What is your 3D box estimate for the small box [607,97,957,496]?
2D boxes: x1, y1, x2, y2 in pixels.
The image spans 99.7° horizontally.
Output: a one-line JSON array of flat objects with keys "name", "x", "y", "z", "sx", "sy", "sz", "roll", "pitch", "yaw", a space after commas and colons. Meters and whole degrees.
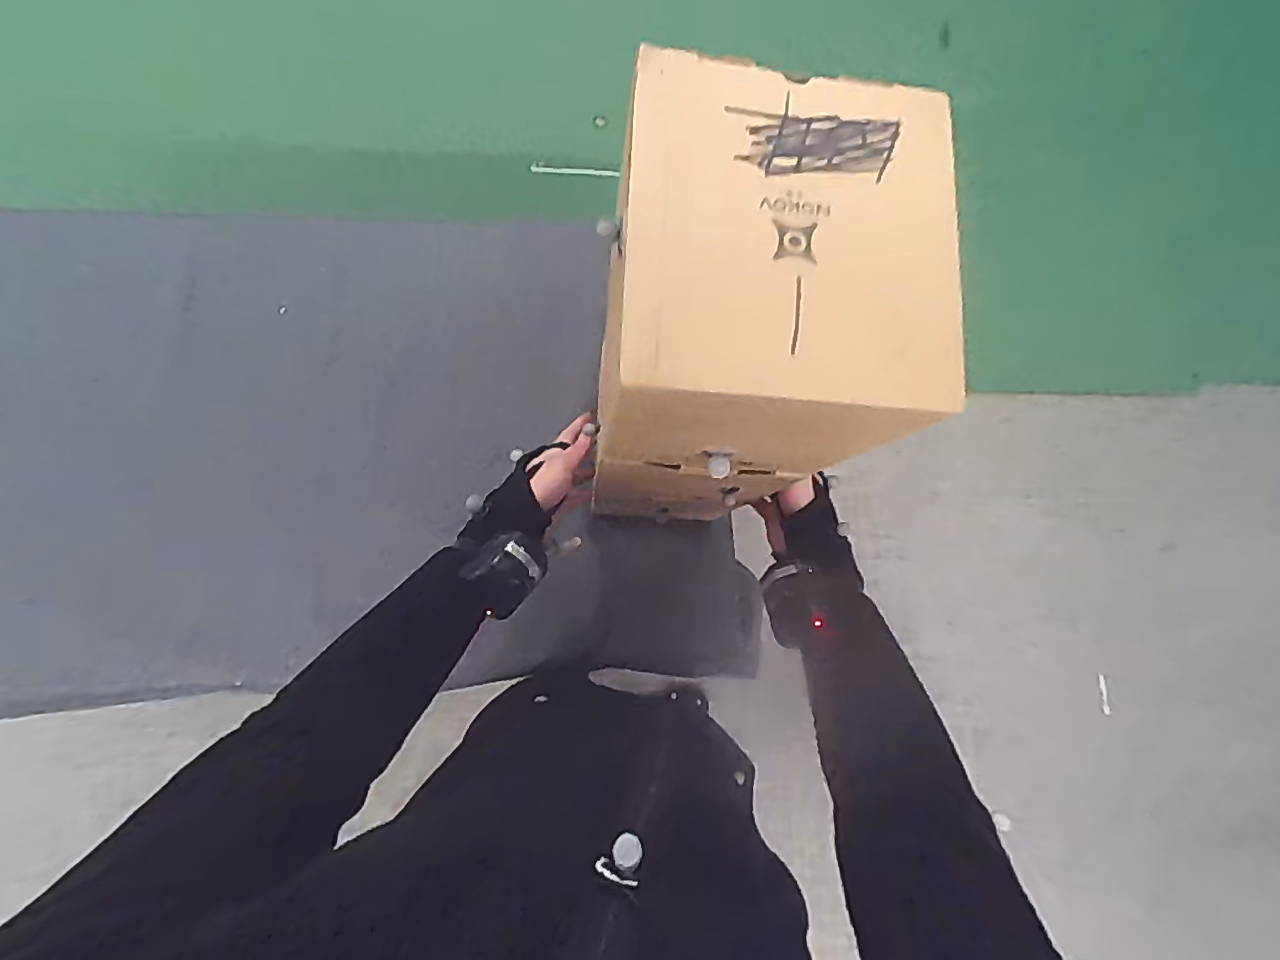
[{"name": "small box", "x": 0.067, "y": -0.092, "z": 0.348, "sx": 0.168, "sy": 0.176, "sz": 0.179, "roll": 3, "pitch": 80, "yaw": -6}]

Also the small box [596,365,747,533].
[{"name": "small box", "x": 0.032, "y": -0.028, "z": 0.667, "sx": 0.168, "sy": 0.176, "sz": 0.179, "roll": 2, "pitch": 79, "yaw": -6}]

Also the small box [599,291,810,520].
[{"name": "small box", "x": 0.049, "y": -0.059, "z": 0.508, "sx": 0.168, "sy": 0.176, "sz": 0.179, "roll": 3, "pitch": 78, "yaw": -6}]
